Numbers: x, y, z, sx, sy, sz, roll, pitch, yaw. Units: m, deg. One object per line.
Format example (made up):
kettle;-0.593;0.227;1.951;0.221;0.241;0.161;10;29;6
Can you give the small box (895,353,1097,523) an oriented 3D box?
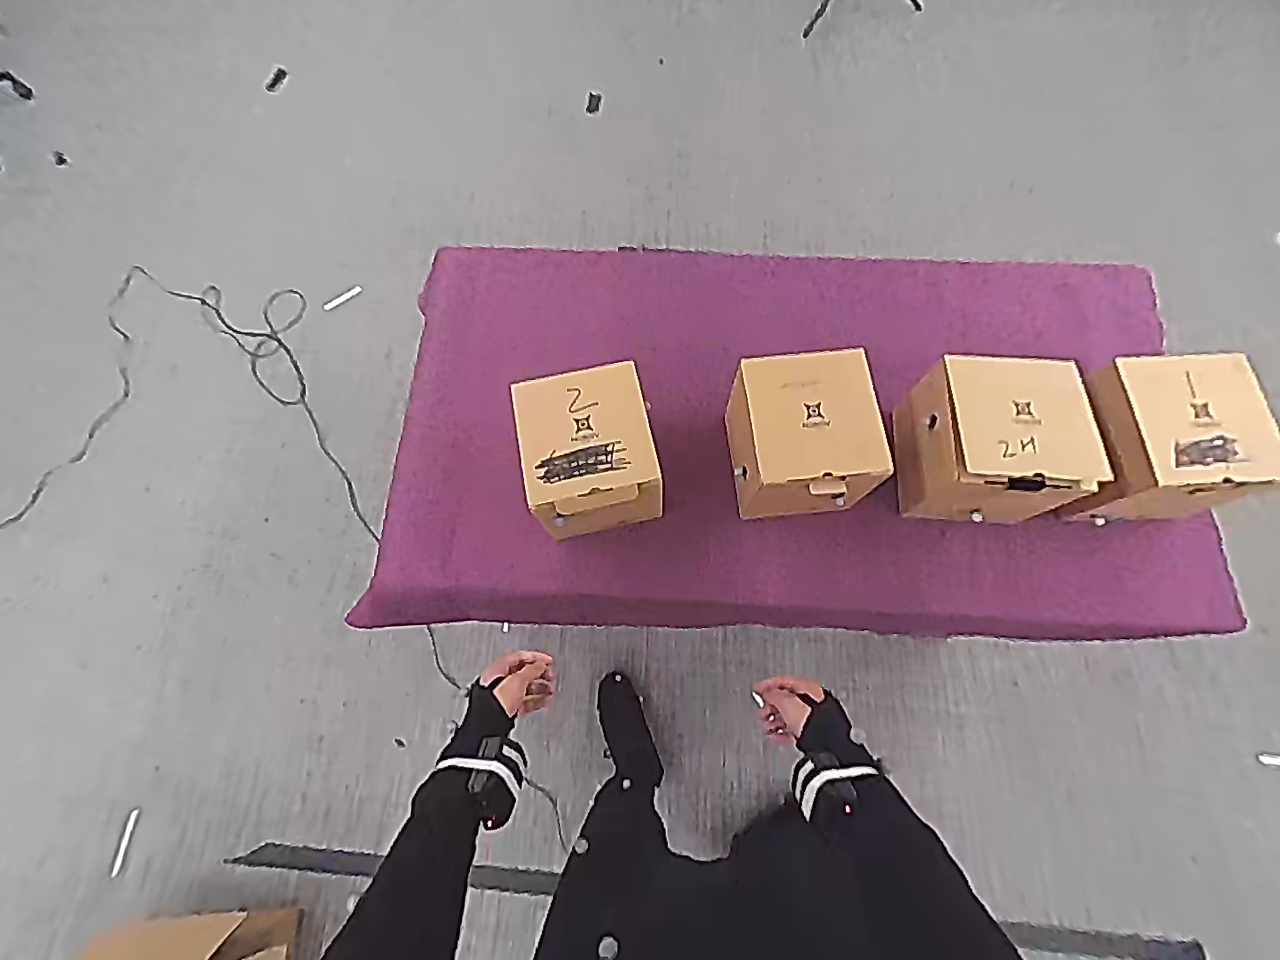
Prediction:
small box;0.467;-0.051;0.744;0.168;0.176;0.179;4;72;3

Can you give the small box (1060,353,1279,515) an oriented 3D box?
small box;0.688;-0.052;0.738;0.168;0.176;0.179;-2;71;1

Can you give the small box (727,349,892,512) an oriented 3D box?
small box;0.221;-0.057;0.754;0.168;0.176;0.179;-5;71;-1
